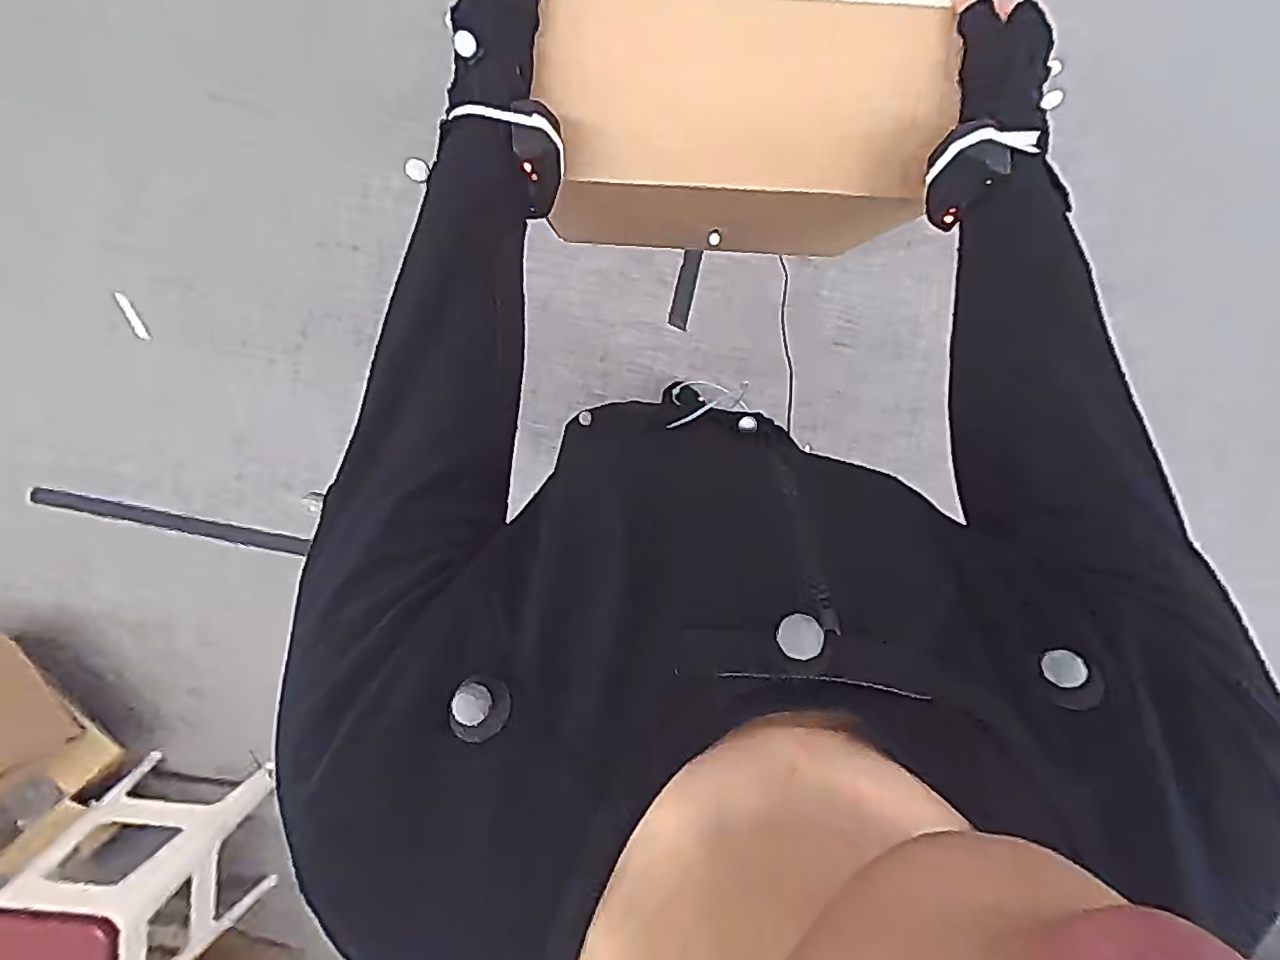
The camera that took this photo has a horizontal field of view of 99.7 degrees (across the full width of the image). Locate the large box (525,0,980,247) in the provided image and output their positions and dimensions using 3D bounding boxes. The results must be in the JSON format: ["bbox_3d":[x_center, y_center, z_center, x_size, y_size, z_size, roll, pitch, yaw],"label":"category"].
[{"bbox_3d":[0.099,-0.458,0.612,0.408,0.320,0.320,3,103,-1],"label":"large box"}]
